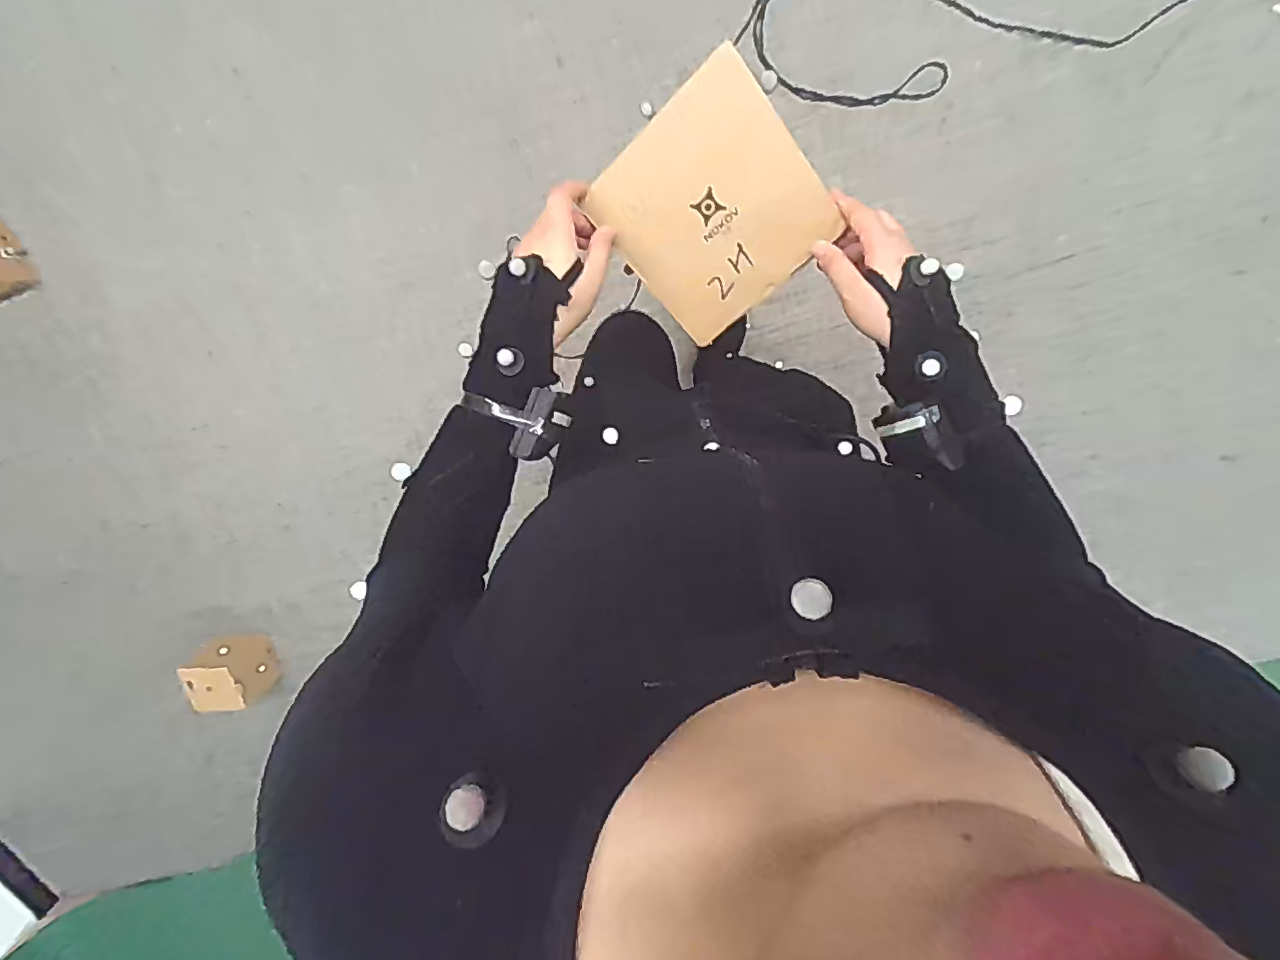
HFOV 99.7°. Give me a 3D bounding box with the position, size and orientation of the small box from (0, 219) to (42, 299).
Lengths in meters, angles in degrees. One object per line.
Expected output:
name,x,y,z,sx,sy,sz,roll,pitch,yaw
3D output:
small box,-1.673,-0.544,1.336,0.179,0.176,0.168,-15,109,8

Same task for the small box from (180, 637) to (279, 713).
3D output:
small box,-1.298,0.619,1.729,0.179,0.176,0.168,-4,110,4

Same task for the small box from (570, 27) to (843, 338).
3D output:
small box,0.061,-0.276,0.521,0.168,0.176,0.179,-35,116,26
